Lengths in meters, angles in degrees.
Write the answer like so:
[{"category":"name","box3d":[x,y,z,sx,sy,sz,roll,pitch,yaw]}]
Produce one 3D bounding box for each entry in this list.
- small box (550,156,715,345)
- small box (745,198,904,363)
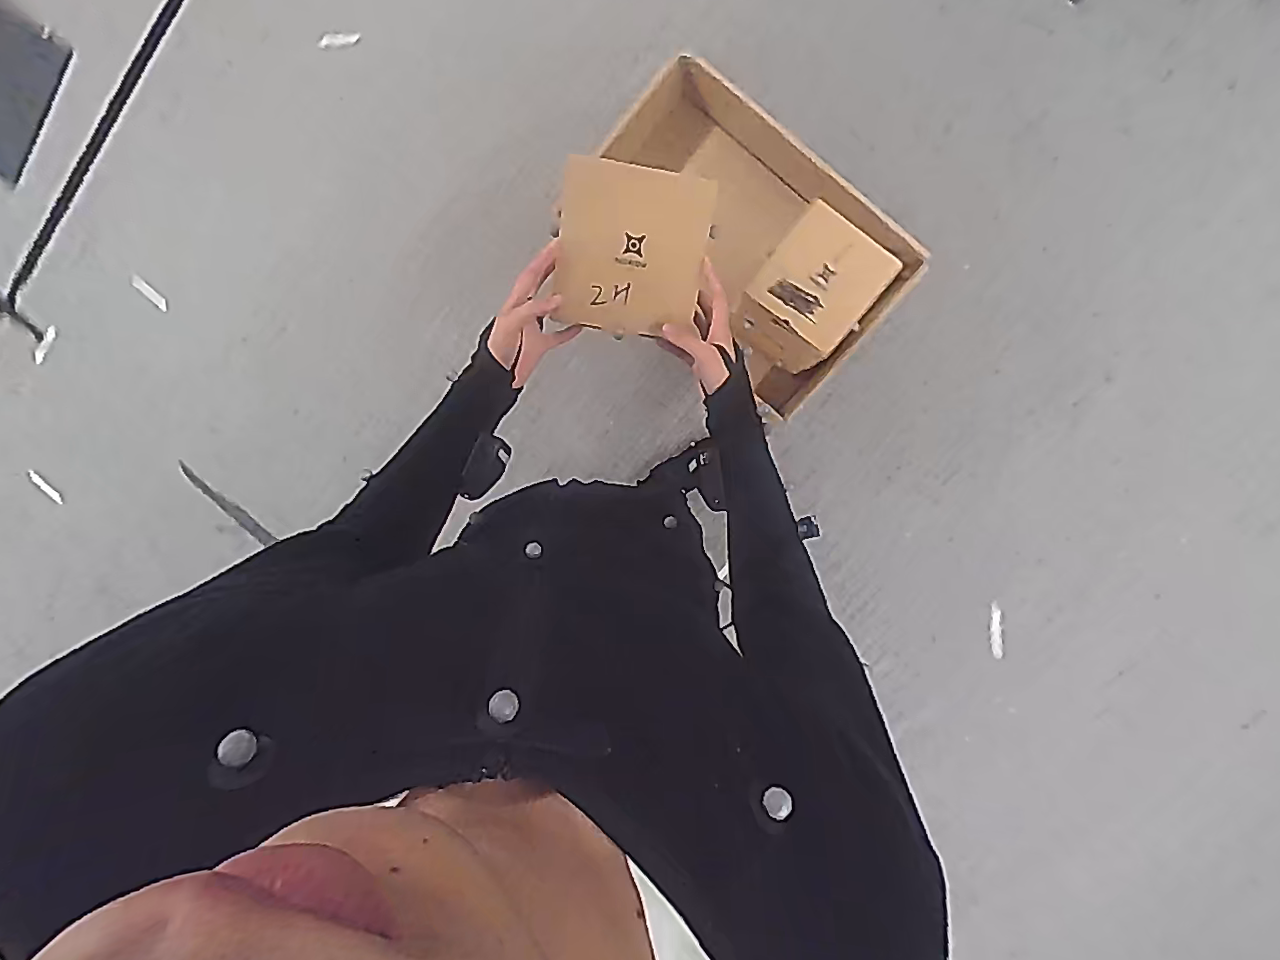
[{"category":"small box","box3d":[-0.014,-0.276,0.677,0.168,0.176,0.179,7,109,-4]},{"category":"small box","box3d":[0.290,-0.314,0.898,0.168,0.176,0.179,39,98,1]}]
